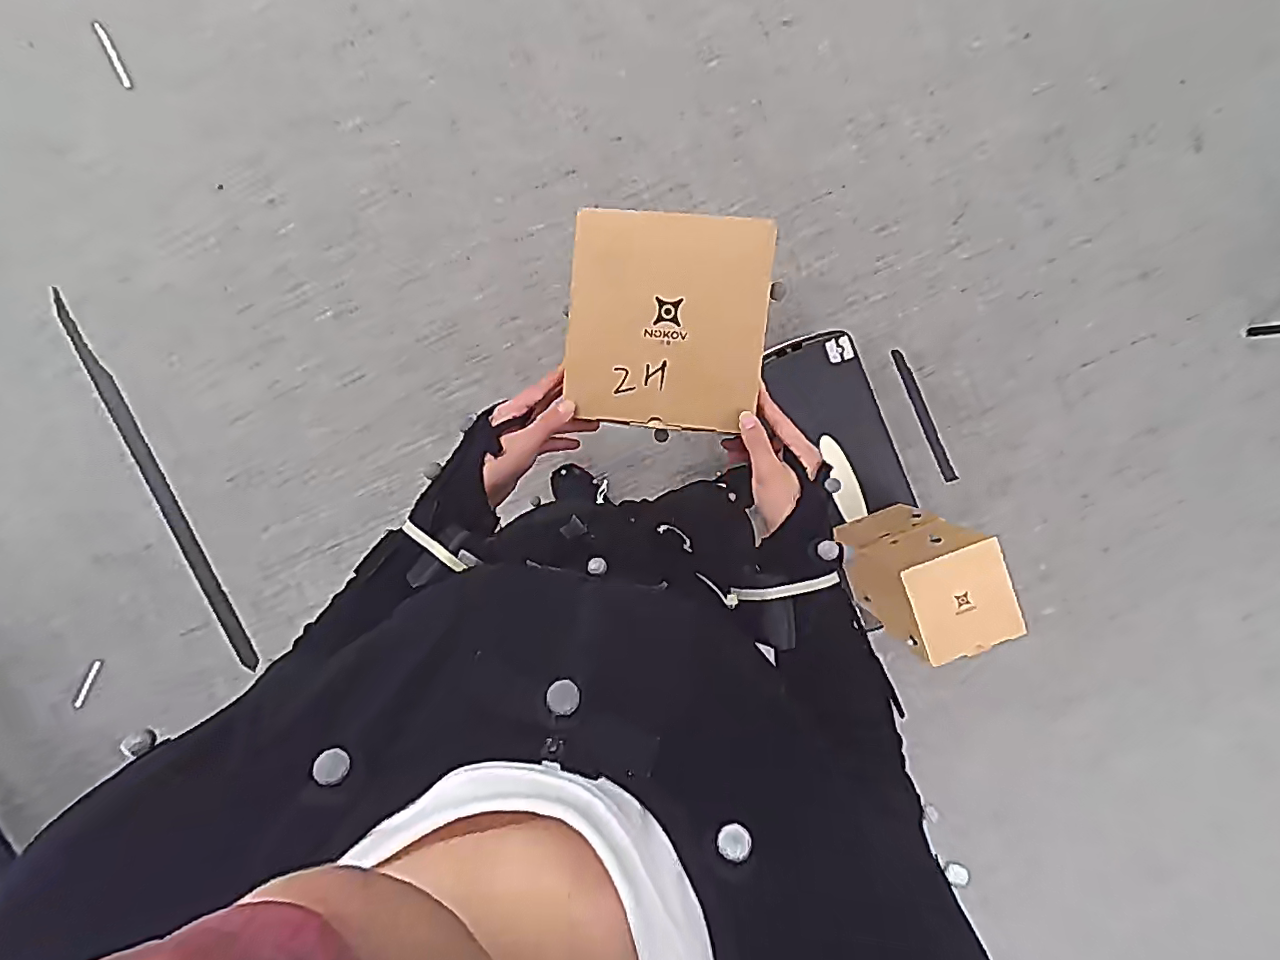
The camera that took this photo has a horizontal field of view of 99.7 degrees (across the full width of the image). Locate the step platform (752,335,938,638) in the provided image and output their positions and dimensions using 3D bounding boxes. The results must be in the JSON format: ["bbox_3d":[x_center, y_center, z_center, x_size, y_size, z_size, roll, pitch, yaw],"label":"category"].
[{"bbox_3d":[0.474,0.016,1.269,0.286,0.204,0.684,-24,94,1],"label":"step platform"}]

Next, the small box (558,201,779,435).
[{"bbox_3d":[0.028,-0.139,0.520,0.168,0.176,0.179,7,96,6],"label":"small box"}]

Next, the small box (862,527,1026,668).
[{"bbox_3d":[0.518,0.191,0.947,0.168,0.176,0.179,-21,95,1],"label":"small box"}]
